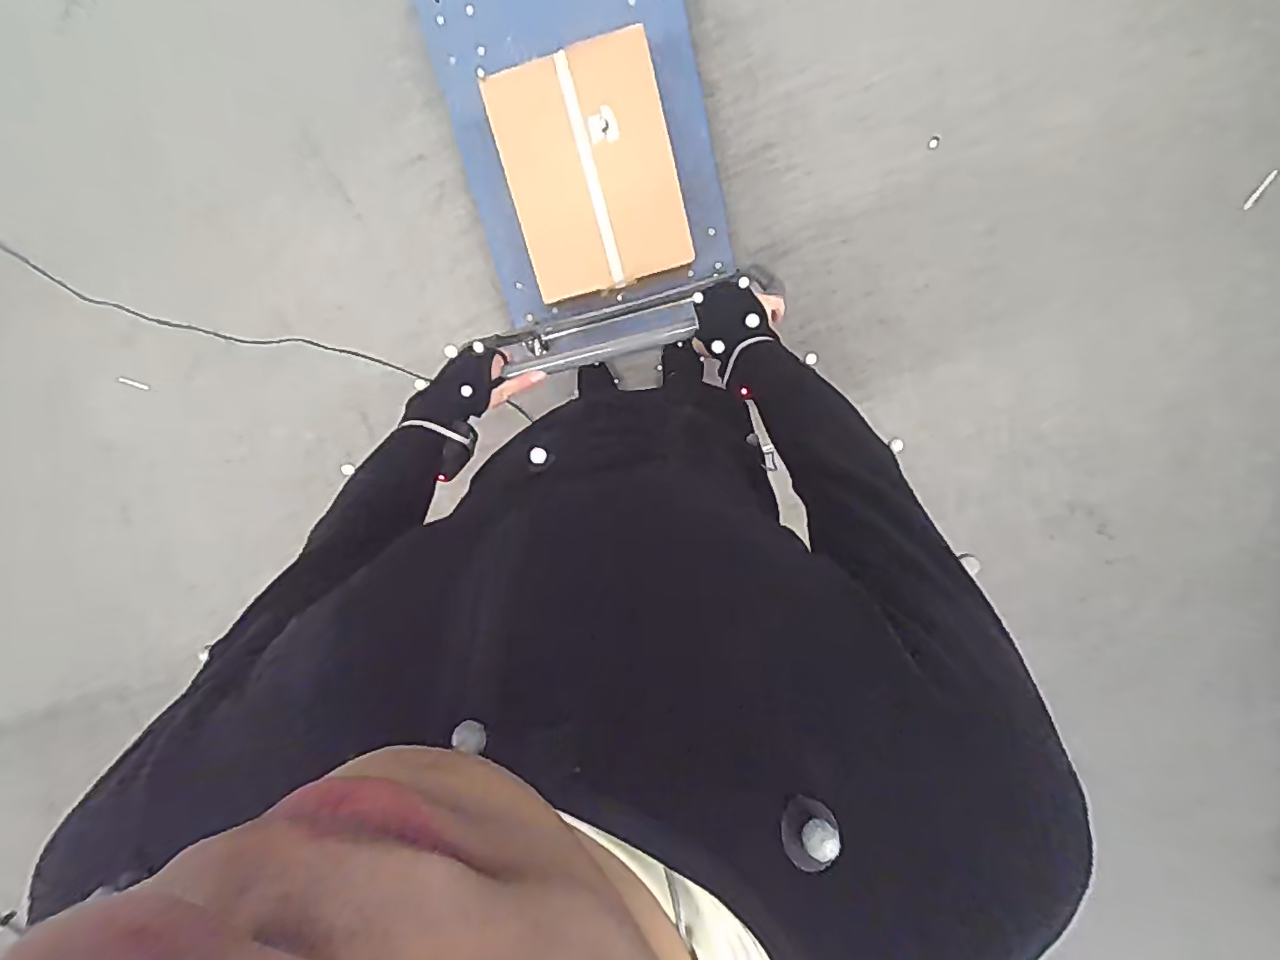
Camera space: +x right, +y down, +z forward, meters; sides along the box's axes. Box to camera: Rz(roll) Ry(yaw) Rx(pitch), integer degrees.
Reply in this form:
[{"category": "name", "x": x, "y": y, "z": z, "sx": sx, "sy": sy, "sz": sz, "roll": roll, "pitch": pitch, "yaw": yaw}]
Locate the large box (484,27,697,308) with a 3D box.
[{"category": "large box", "x": -0.078, "y": -0.614, "z": 1.154, "sx": 0.320, "sy": 0.320, "sz": 0.408, "roll": -13, "pitch": 104, "yaw": 6}]
